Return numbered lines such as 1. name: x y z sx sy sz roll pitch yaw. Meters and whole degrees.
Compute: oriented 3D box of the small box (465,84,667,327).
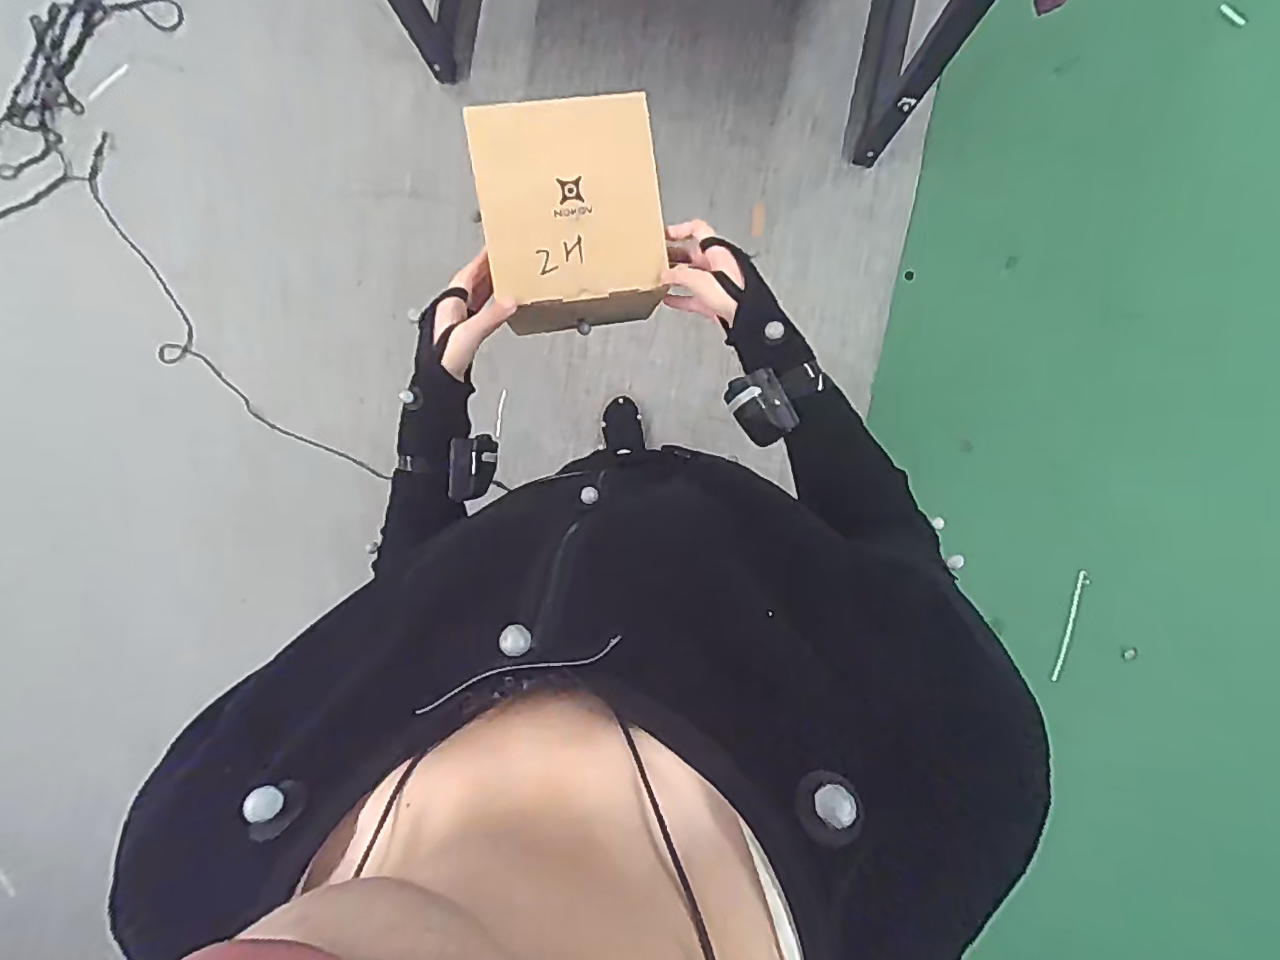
1. small box: -0.074 -0.269 0.565 0.168 0.176 0.179 -8 98 -6
